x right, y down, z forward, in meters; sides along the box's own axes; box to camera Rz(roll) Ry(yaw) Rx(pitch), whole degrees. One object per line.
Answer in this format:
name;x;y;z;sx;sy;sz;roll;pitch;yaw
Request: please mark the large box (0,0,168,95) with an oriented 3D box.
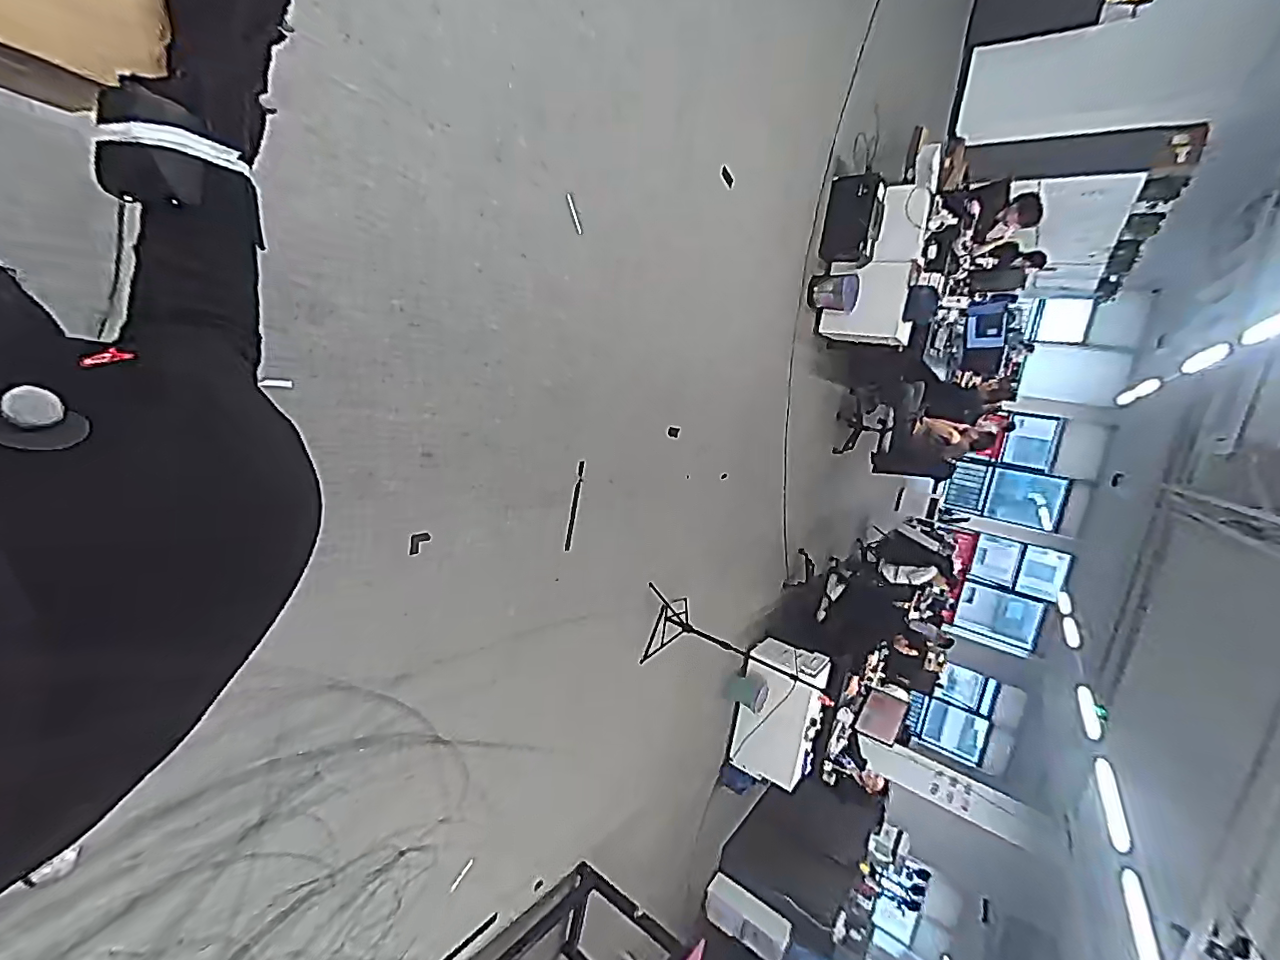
large box;-0.532;-0.463;0.267;0.408;0.320;0.320;-3;114;-56
